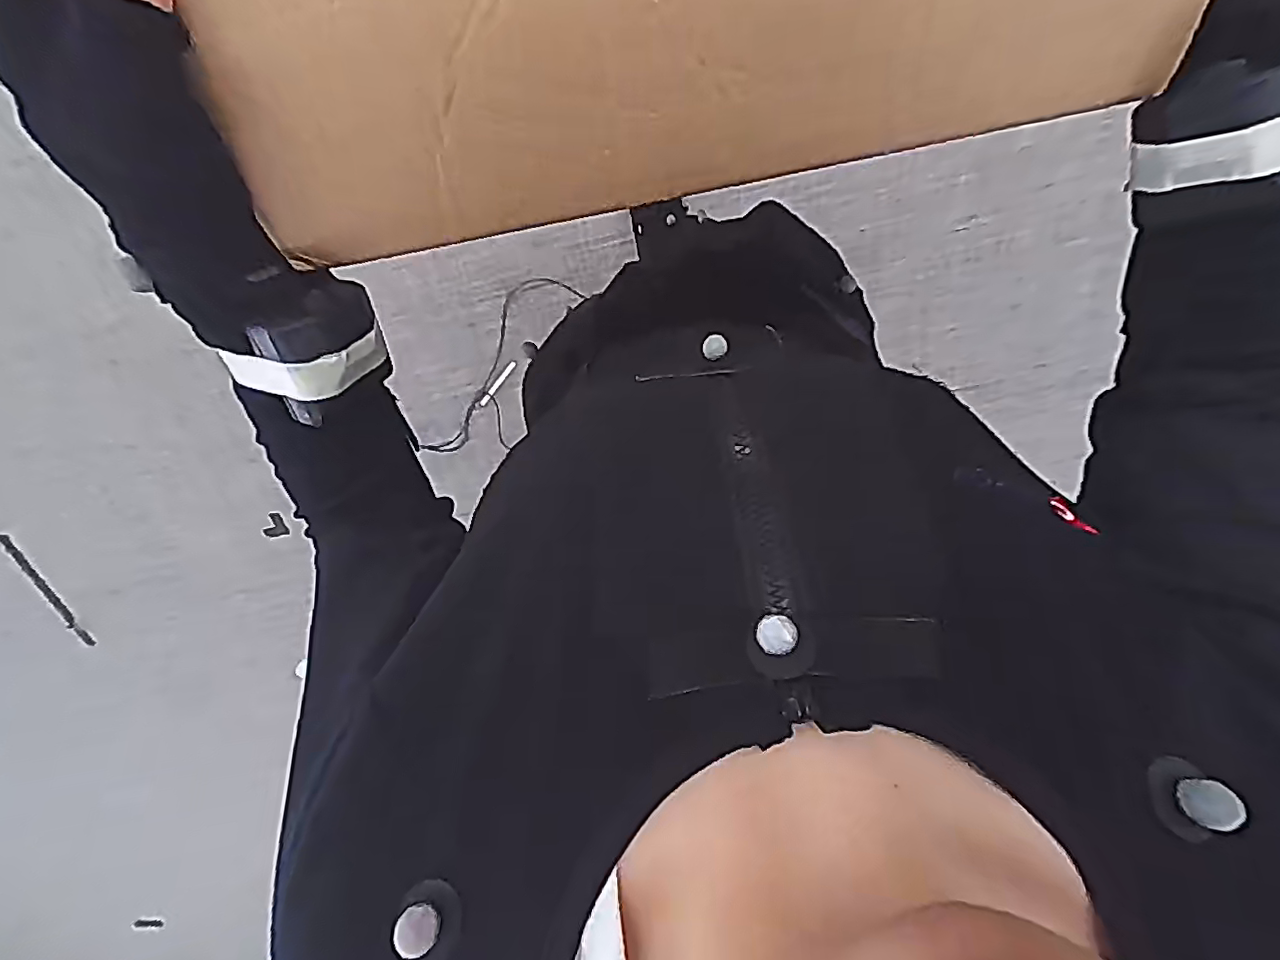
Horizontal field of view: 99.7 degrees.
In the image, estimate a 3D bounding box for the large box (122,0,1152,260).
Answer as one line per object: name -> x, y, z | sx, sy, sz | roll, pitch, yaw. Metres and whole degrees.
large box -> -0.012, -0.354, 0.242 | 0.408, 0.320, 0.320 | -10, 138, 3
